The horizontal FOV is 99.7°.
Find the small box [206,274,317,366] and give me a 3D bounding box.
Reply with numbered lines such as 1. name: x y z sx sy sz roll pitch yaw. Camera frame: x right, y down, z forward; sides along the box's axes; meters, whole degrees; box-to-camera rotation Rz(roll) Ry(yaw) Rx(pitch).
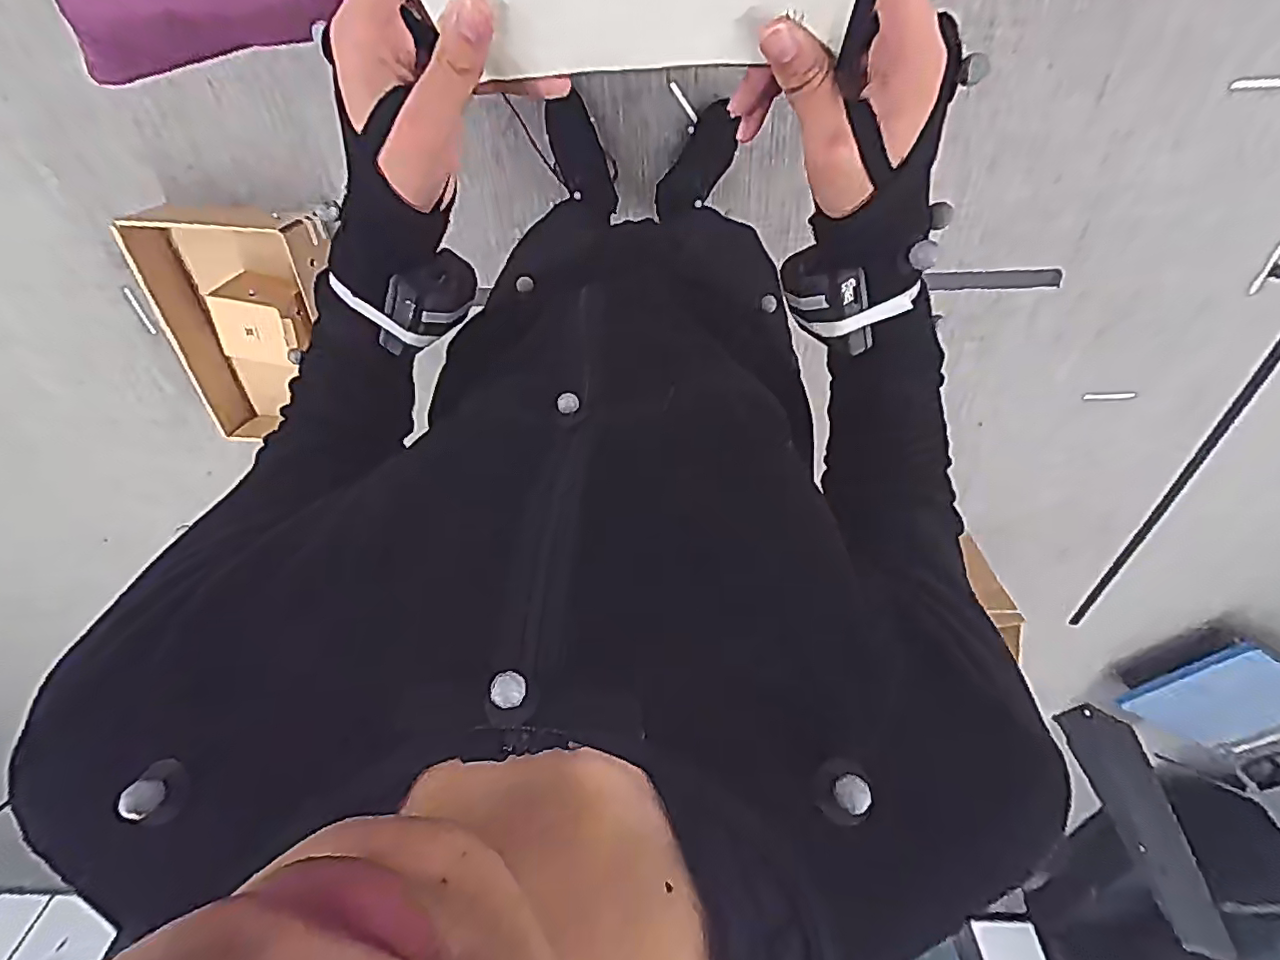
1. small box: -0.981 -0.426 1.426 0.179 0.176 0.168 9 130 -6
